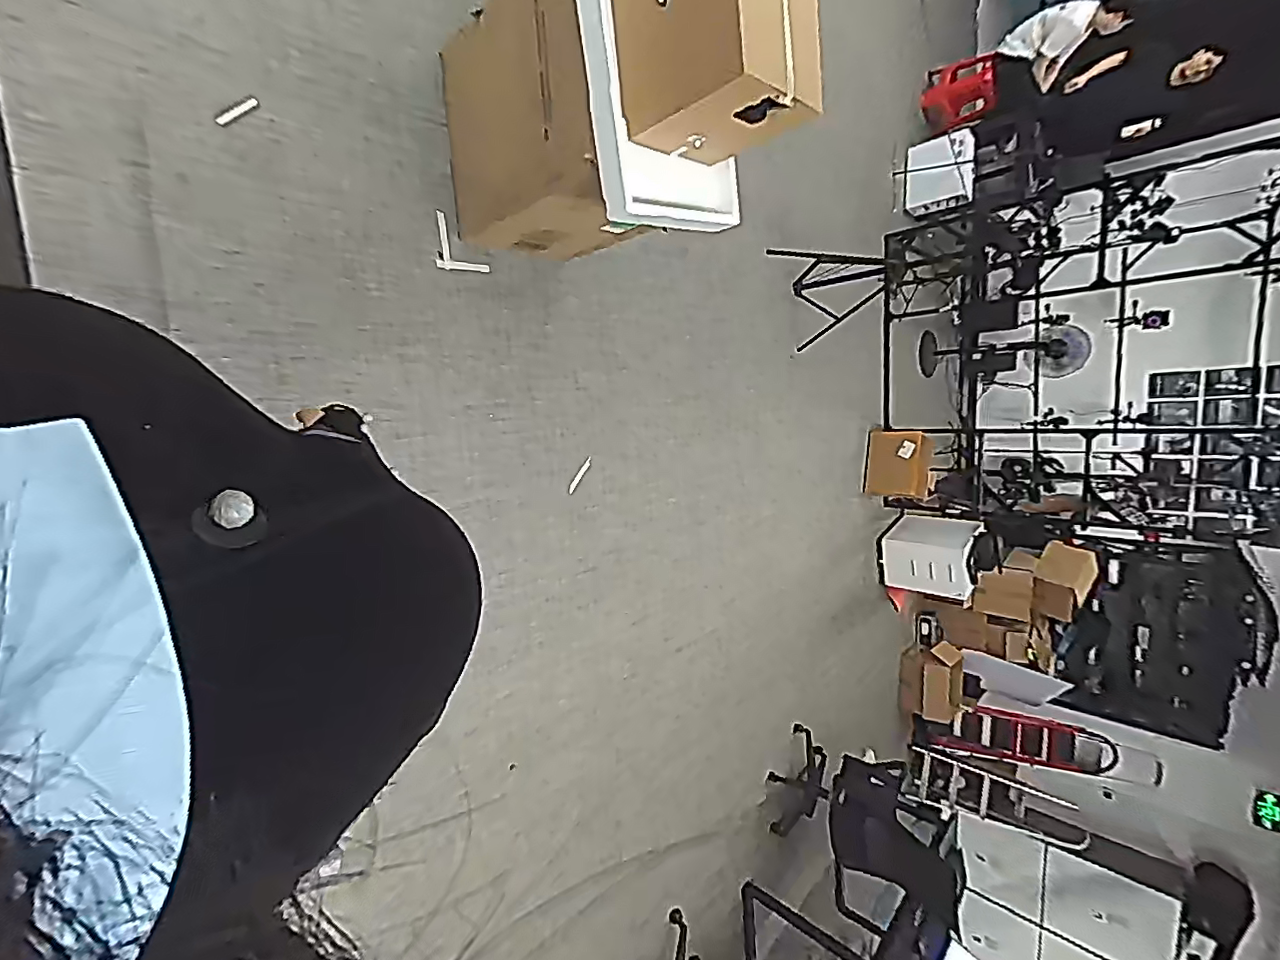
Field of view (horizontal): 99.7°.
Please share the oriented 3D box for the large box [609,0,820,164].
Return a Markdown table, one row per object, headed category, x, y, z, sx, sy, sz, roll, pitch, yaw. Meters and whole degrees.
| category | x | y | z | sx | sy | sz | roll | pitch | yaw |
| --- | --- | --- | --- | --- | --- | --- | --- | --- | --- |
| large box | 0.155 | -0.959 | 1.146 | 0.320 | 0.320 | 0.408 | -18 | 104 | -45 |
